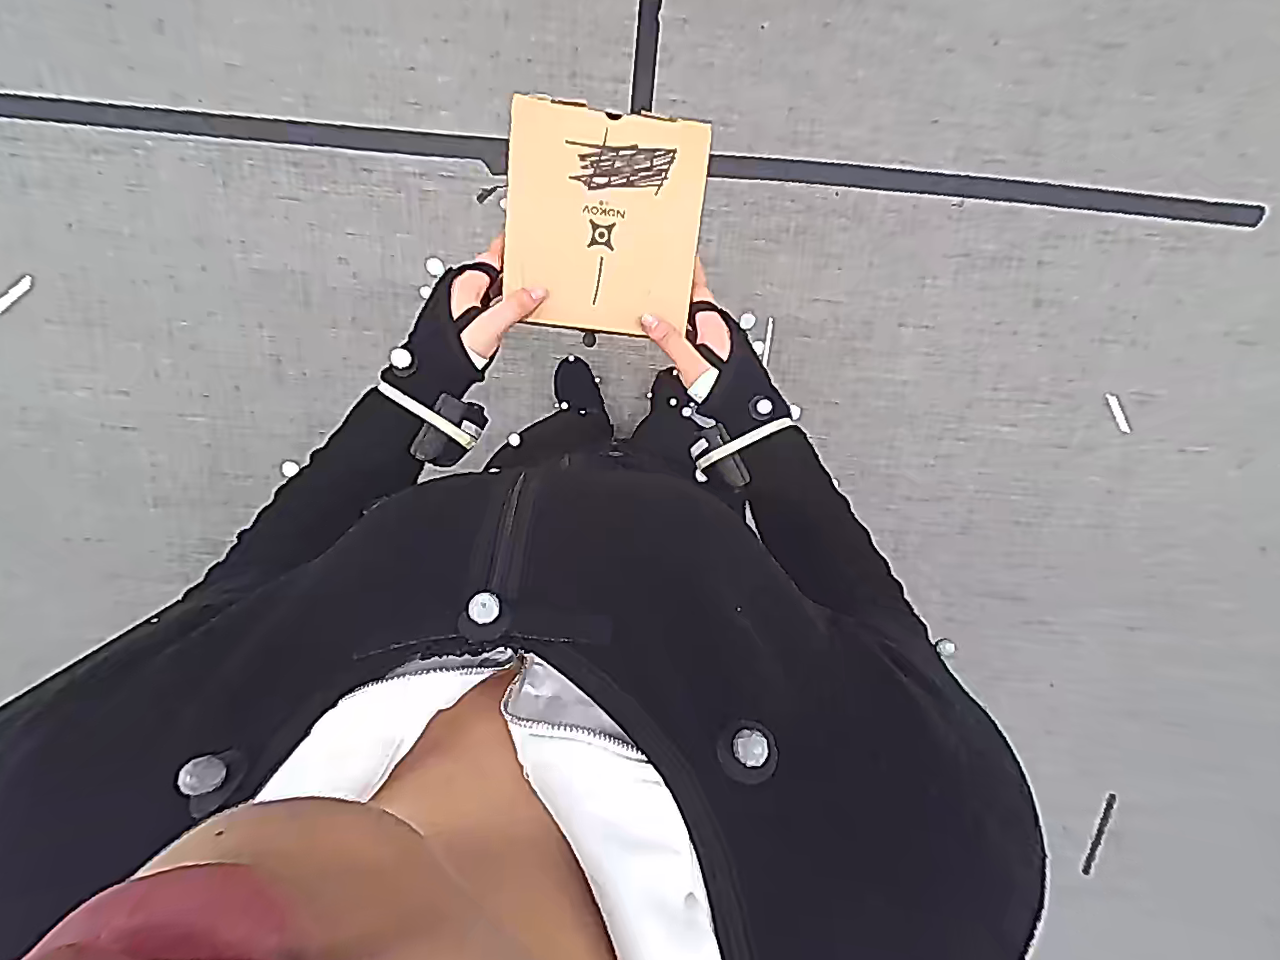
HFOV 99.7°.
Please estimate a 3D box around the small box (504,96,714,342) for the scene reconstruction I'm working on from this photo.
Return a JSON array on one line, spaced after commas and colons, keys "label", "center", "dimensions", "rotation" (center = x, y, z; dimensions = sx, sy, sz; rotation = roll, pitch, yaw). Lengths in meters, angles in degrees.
[{"label": "small box", "center": [-0.035, -0.236, 0.537], "dimensions": [0.168, 0.176, 0.179], "rotation": [6, 104, -5]}]
